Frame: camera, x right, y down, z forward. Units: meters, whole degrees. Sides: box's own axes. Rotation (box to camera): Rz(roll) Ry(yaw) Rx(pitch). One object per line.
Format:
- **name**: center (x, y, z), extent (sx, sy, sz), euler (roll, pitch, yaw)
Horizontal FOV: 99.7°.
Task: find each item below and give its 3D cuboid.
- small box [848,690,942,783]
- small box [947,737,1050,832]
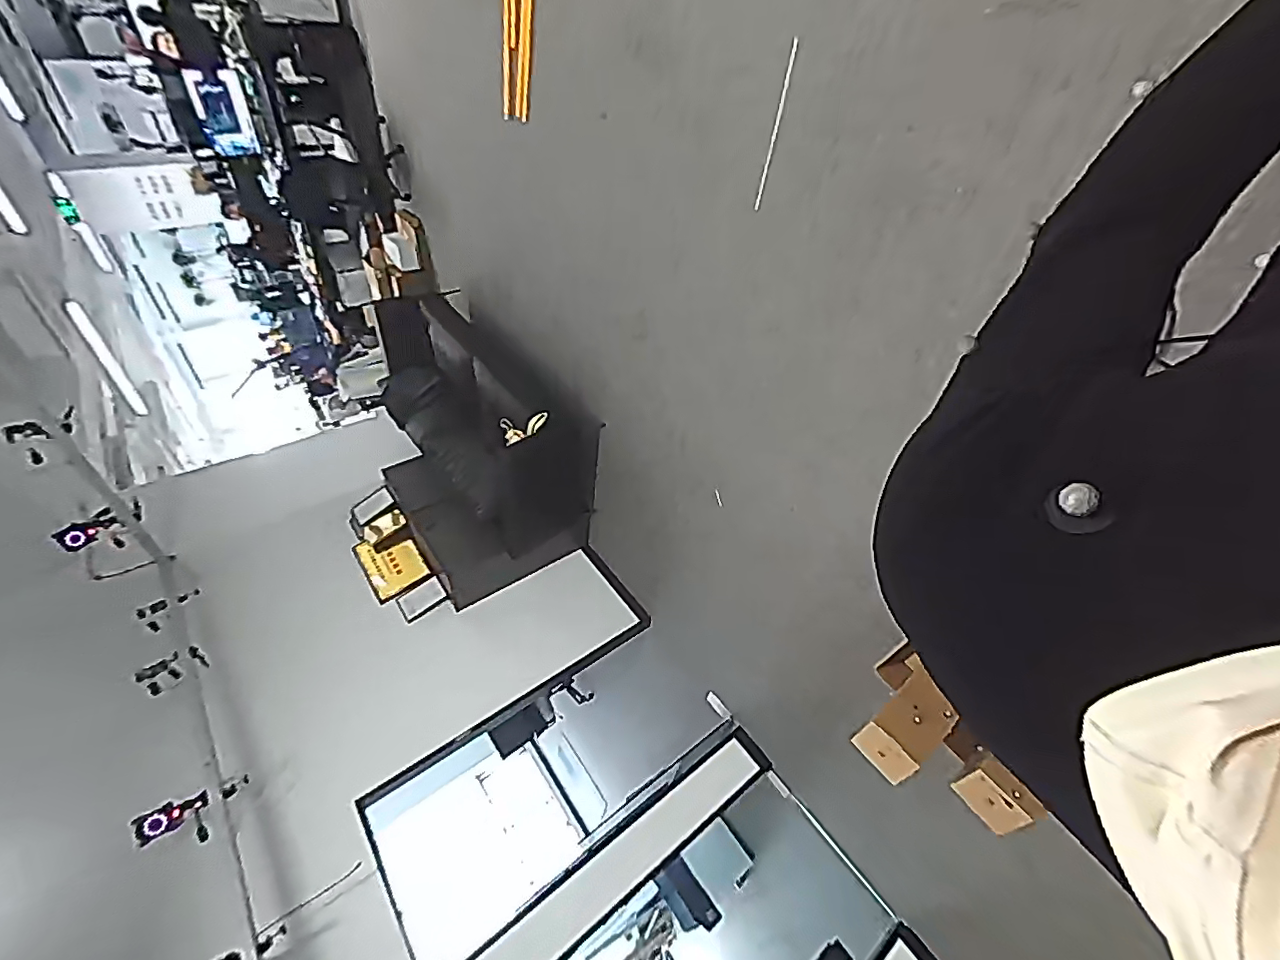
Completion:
- **small box**: center (0.786, 0.786, 1.663), extent (0.168, 0.176, 0.179), euler (45, 145, 30)
- **small box**: center (1.077, 0.911, 1.623), extent (0.168, 0.176, 0.179), euler (45, 147, 29)
